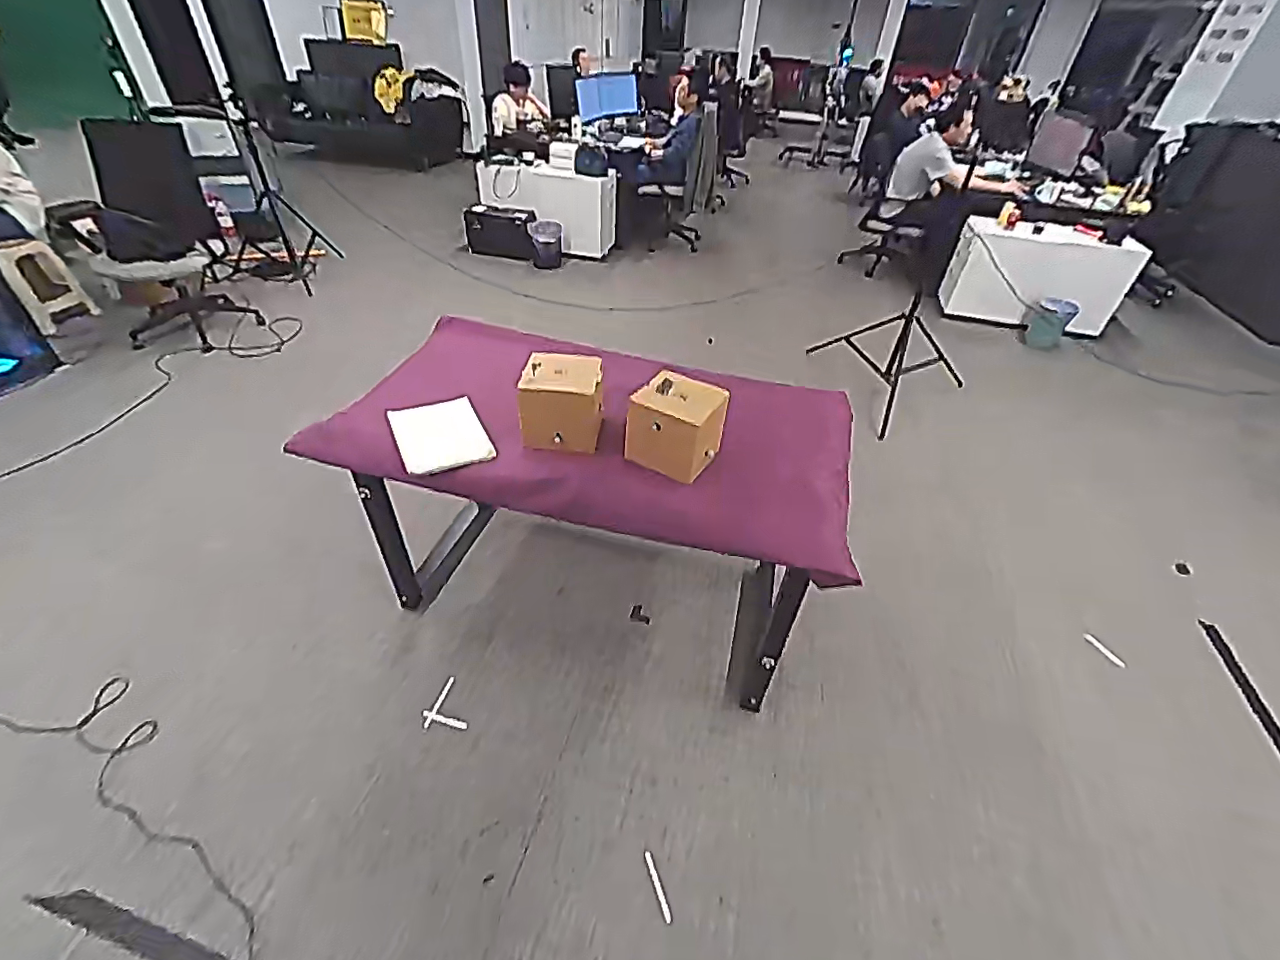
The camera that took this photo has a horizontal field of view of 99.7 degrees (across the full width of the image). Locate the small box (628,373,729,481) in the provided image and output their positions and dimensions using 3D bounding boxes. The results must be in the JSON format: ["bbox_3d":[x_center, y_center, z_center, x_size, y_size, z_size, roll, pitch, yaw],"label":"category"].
[{"bbox_3d":[0.083,-0.123,1.260,0.179,0.176,0.168,23,43,21],"label":"small box"}]

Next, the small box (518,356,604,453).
[{"bbox_3d":[-0.186,-0.180,1.310,0.179,0.176,0.168,5,39,1],"label":"small box"}]
